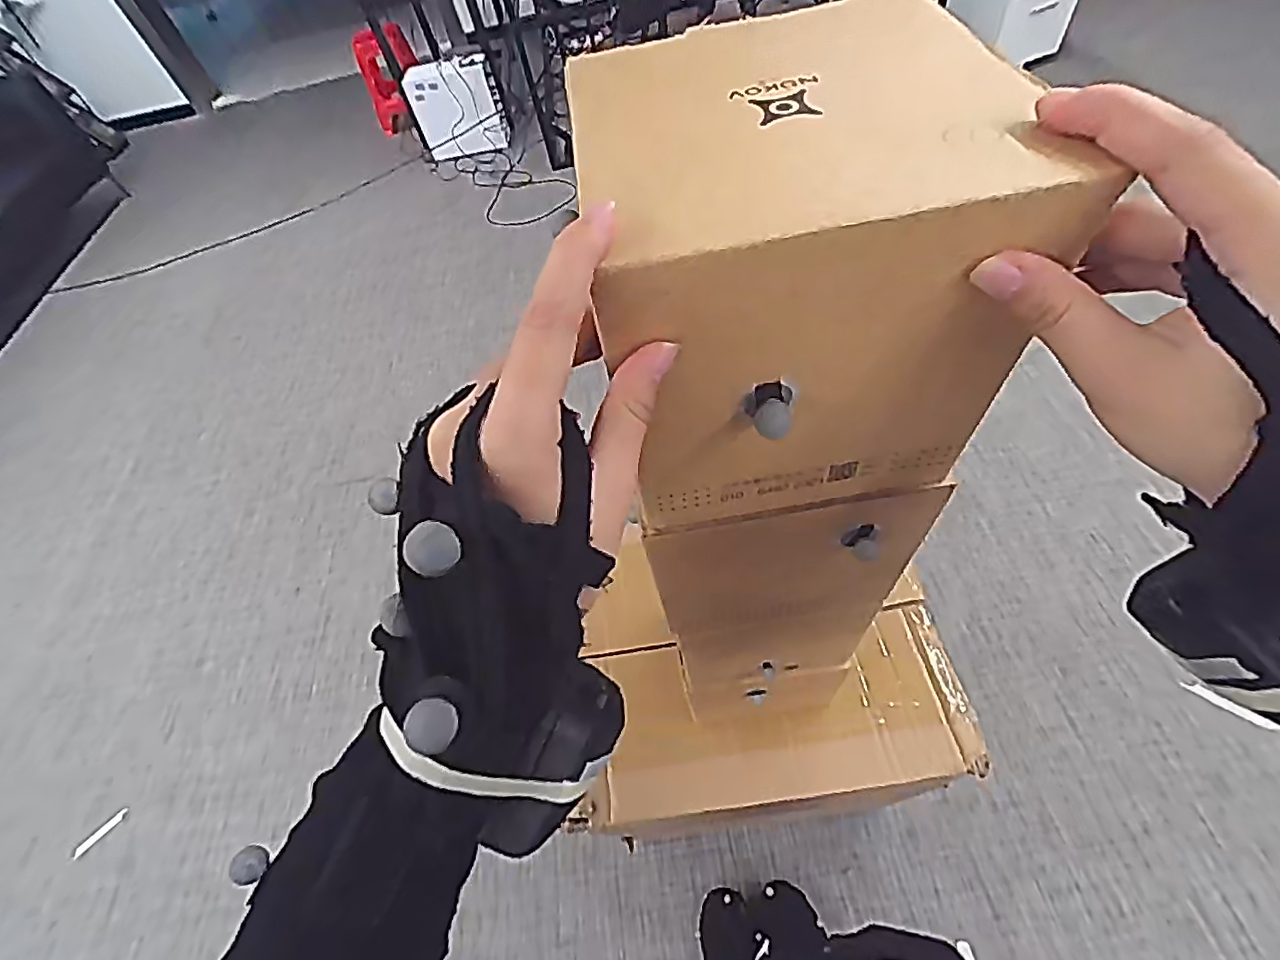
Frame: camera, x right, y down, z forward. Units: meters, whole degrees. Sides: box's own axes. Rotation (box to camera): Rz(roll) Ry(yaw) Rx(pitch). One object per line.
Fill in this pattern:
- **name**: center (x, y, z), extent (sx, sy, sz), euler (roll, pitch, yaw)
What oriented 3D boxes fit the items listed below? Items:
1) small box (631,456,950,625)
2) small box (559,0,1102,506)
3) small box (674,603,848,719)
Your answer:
- **small box**: center (0.087, -0.006, 0.406), extent (0.179, 0.176, 0.168), euler (-10, 55, 3)
- **small box**: center (0.062, -0.101, 0.277), extent (0.168, 0.176, 0.179), euler (-10, 55, 3)
- **small box**: center (0.135, 0.185, 0.670), extent (0.179, 0.176, 0.168), euler (-10, 55, 3)
